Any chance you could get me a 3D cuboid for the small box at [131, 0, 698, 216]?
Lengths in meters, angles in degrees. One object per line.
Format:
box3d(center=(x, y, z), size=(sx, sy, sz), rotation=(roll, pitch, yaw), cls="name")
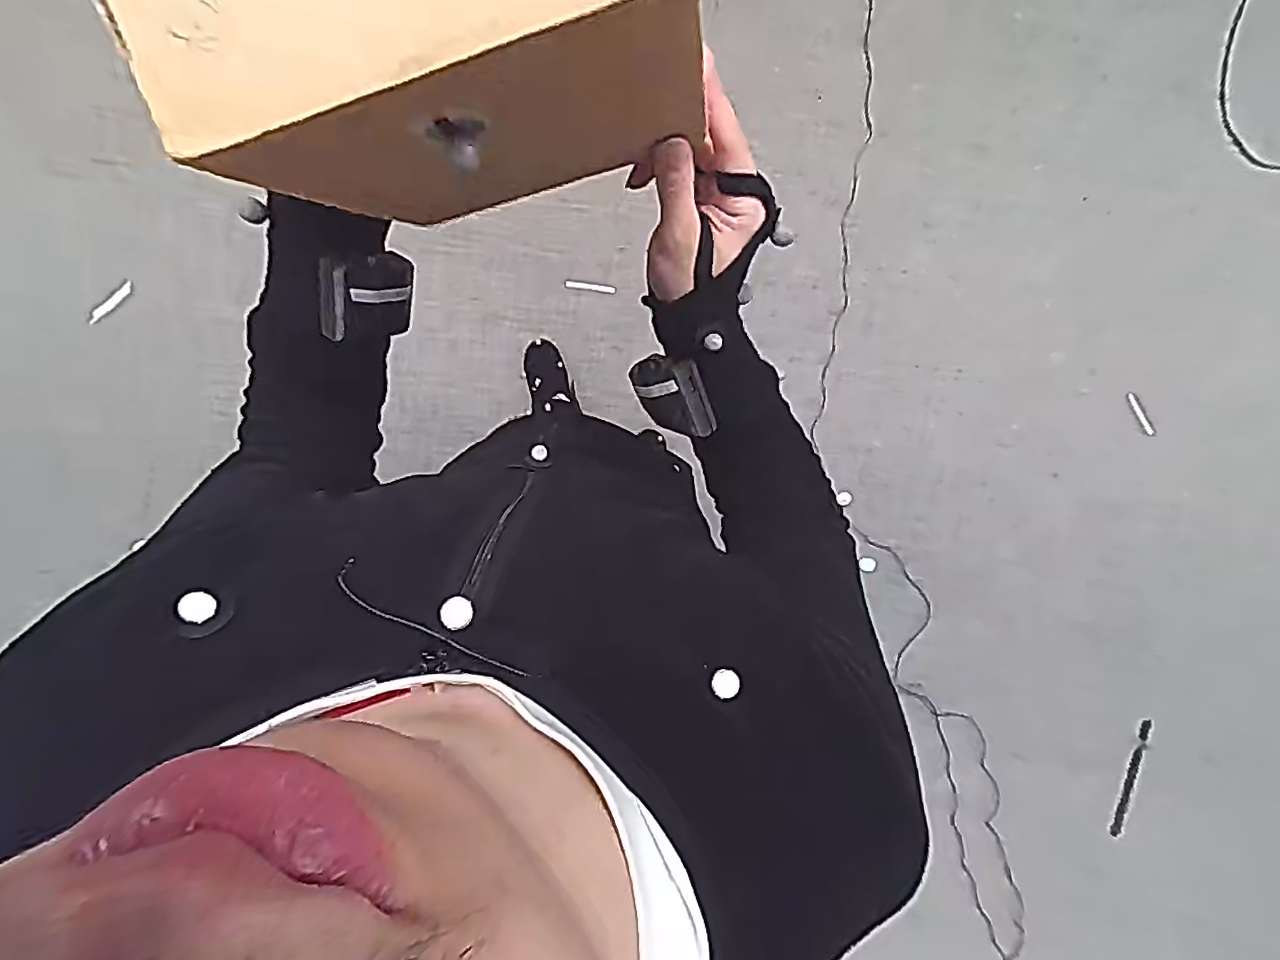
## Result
box3d(center=(-0.078, -0.226, 0.223), size=(0.179, 0.176, 0.168), rotation=(-12, 106, 11), cls="small box")
